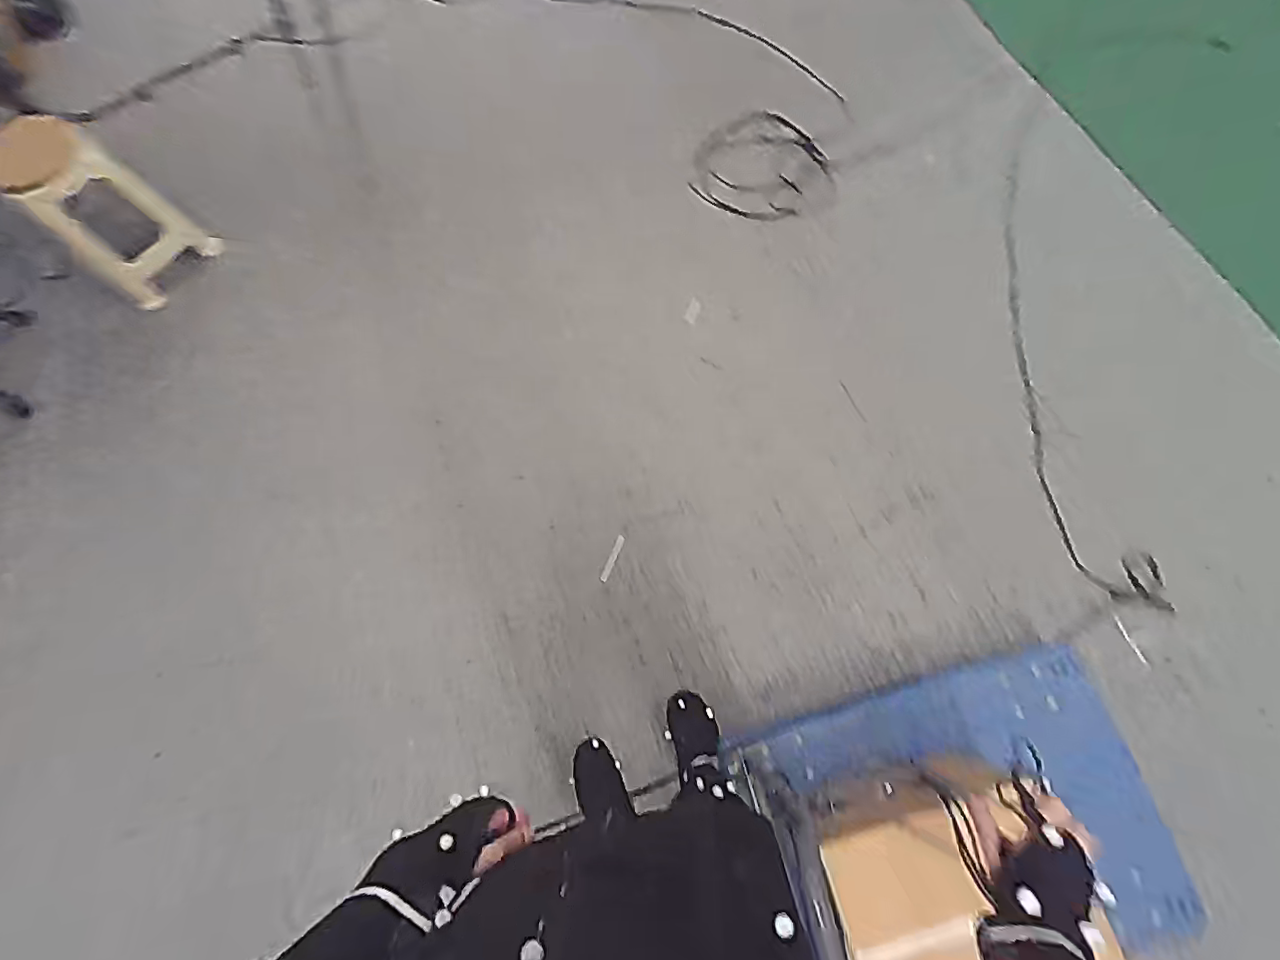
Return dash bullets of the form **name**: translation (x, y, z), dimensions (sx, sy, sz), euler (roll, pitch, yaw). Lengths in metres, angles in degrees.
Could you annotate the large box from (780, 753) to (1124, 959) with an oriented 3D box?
- **large box**: translation (0.528, 0.742, 1.001), dimensions (0.408, 0.320, 0.320), euler (-15, 71, -4)
